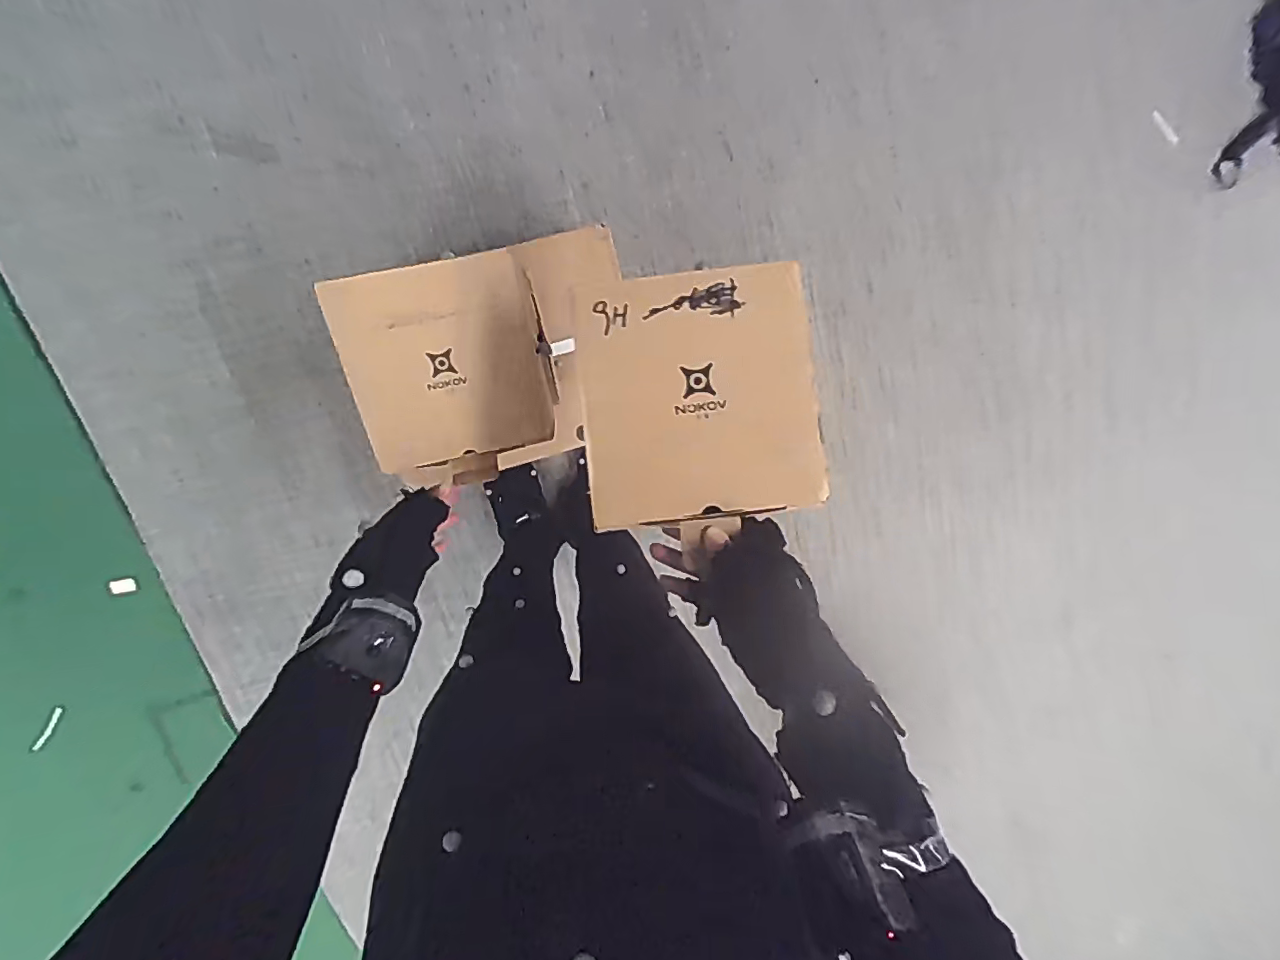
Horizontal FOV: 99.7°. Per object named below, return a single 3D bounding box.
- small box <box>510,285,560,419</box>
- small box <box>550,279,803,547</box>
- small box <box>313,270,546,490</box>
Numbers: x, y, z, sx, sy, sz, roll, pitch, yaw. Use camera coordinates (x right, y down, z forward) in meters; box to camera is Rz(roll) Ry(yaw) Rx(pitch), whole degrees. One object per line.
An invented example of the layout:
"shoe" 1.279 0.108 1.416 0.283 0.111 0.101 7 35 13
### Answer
"small box" -0.214 -0.159 0.722 0.179 0.176 0.168 -17 111 -5
"small box" 0.027 -0.047 0.462 0.168 0.176 0.179 -7 89 0
"small box" -0.196 -0.112 0.567 0.168 0.176 0.179 -14 109 -6
